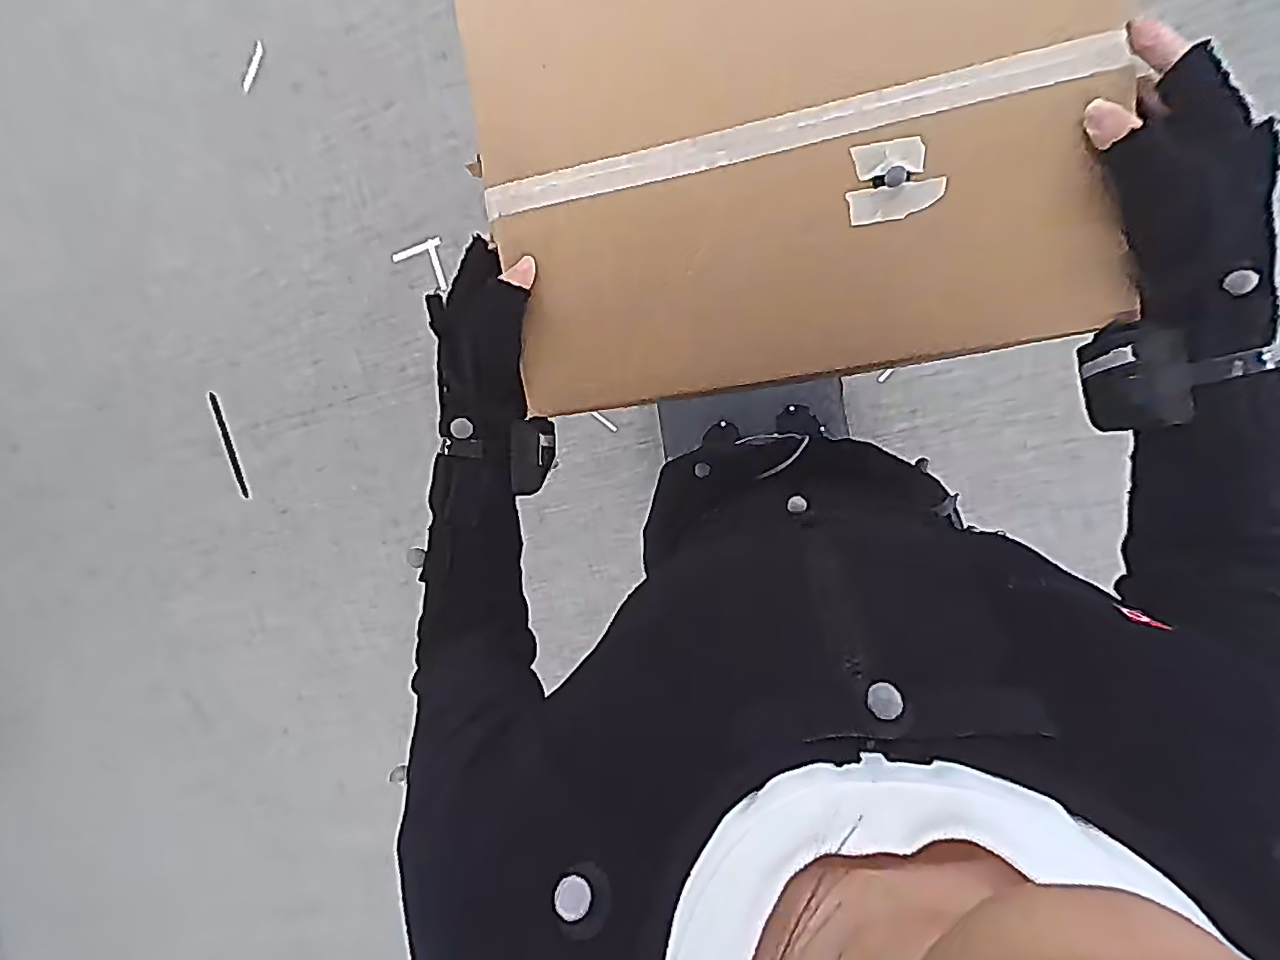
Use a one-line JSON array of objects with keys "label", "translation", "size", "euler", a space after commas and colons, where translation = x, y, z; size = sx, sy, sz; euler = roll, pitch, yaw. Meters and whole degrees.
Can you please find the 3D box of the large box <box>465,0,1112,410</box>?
[{"label": "large box", "translation": [0.112, -0.253, 0.515], "size": [0.408, 0.320, 0.320], "euler": [-8, 98, 10]}]
